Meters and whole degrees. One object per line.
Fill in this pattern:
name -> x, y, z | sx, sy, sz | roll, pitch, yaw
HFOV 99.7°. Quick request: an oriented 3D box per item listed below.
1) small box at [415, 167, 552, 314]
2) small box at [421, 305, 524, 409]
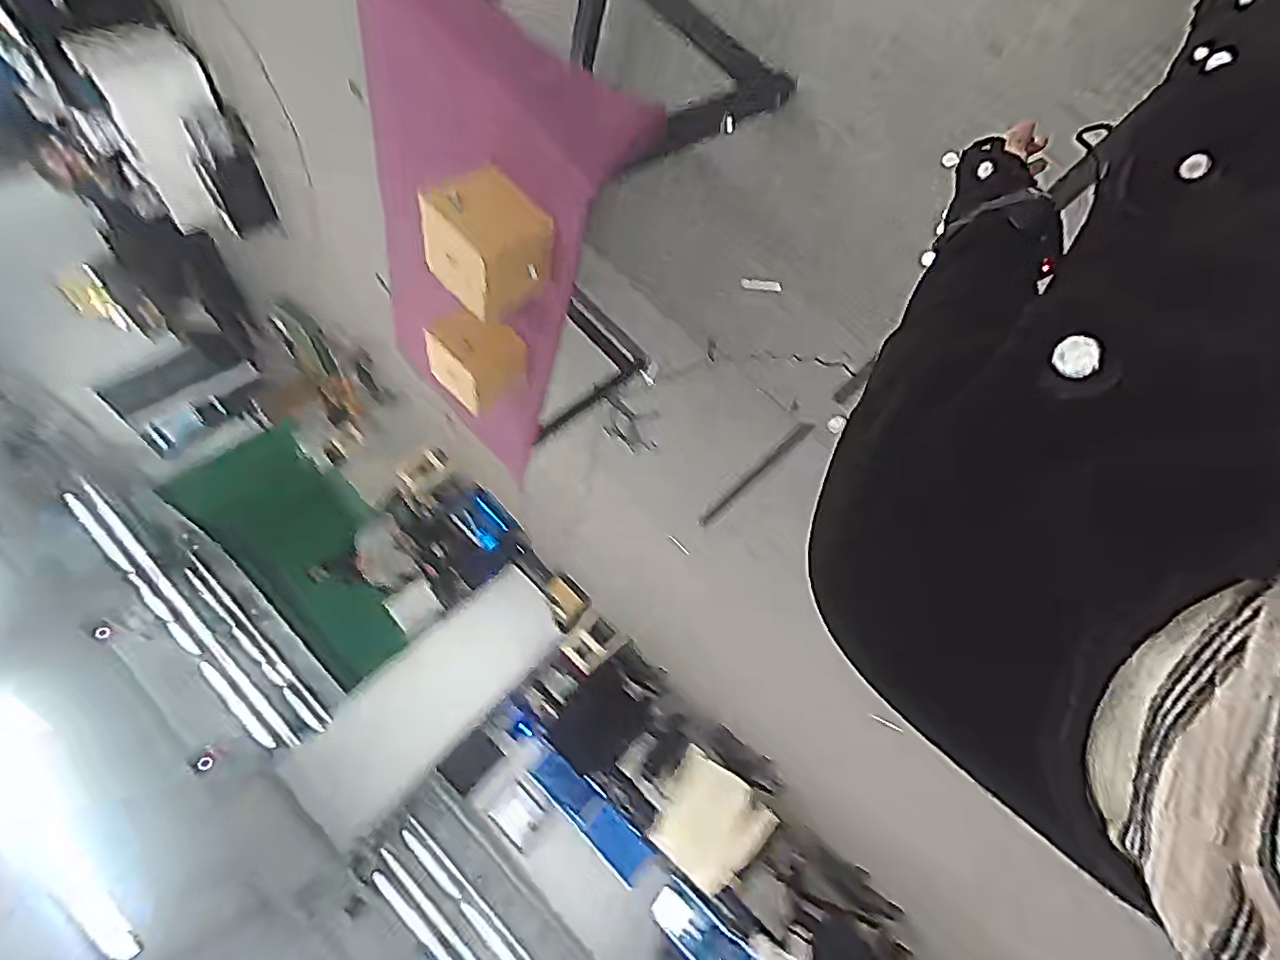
small box -> -0.294, -0.458, 1.023 | 0.179, 0.176, 0.168 | 45, 152, 6
small box -> -0.417, -0.318, 1.358 | 0.179, 0.176, 0.168 | 42, 150, 9
